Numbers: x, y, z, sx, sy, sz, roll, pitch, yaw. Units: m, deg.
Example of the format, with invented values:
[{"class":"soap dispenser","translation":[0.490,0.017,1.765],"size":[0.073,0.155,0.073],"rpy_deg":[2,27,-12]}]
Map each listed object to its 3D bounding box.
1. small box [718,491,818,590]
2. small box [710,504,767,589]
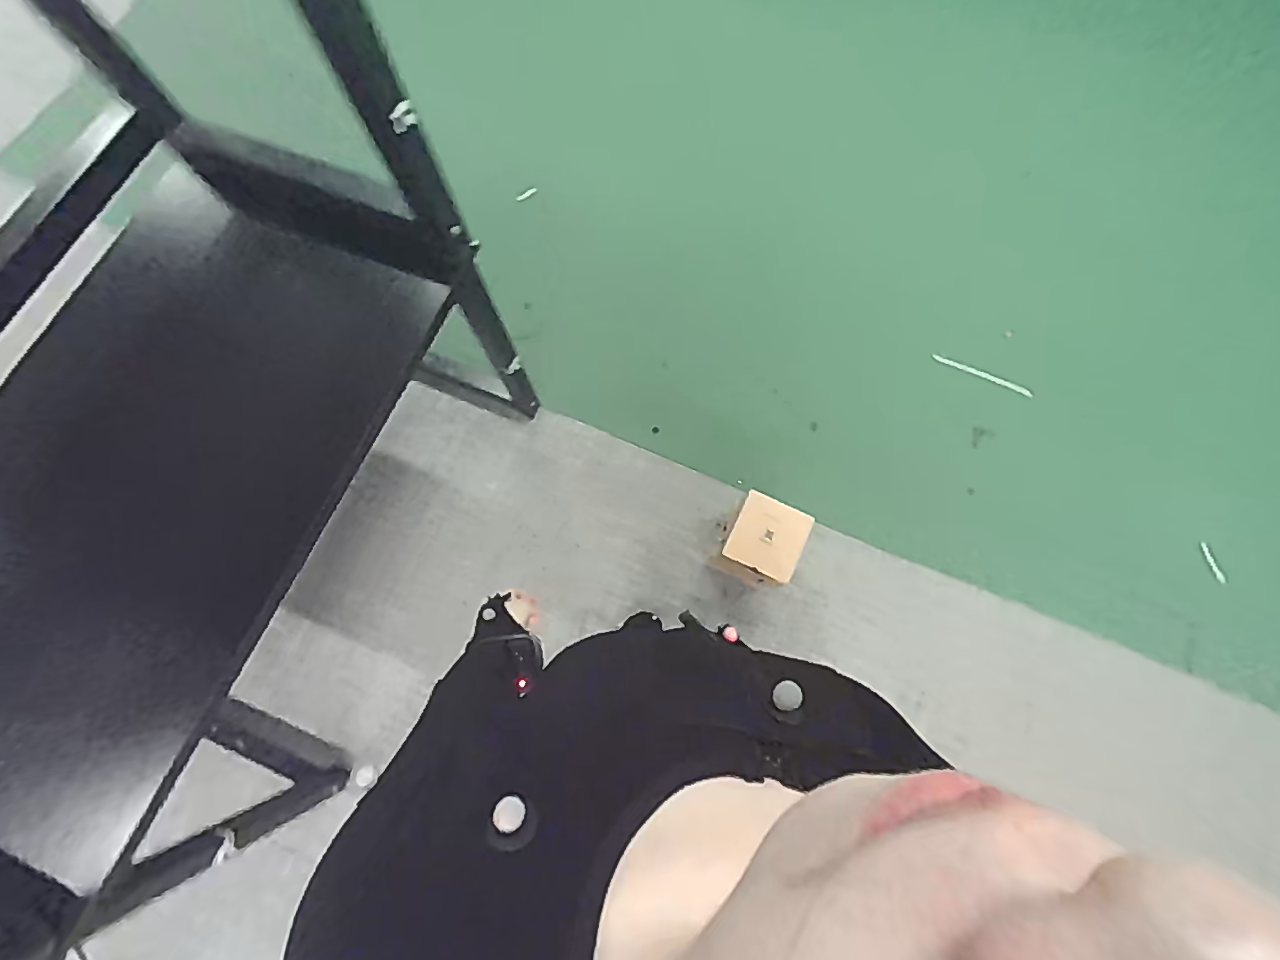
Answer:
[{"class":"small box","translation":[0.299,0.153,1.302],"size":[0.168,0.176,0.179],"rpy_deg":[25,77,5]},{"class":"small box","translation":[0.304,0.188,1.460],"size":[0.179,0.176,0.168],"rpy_deg":[26,77,5]}]
